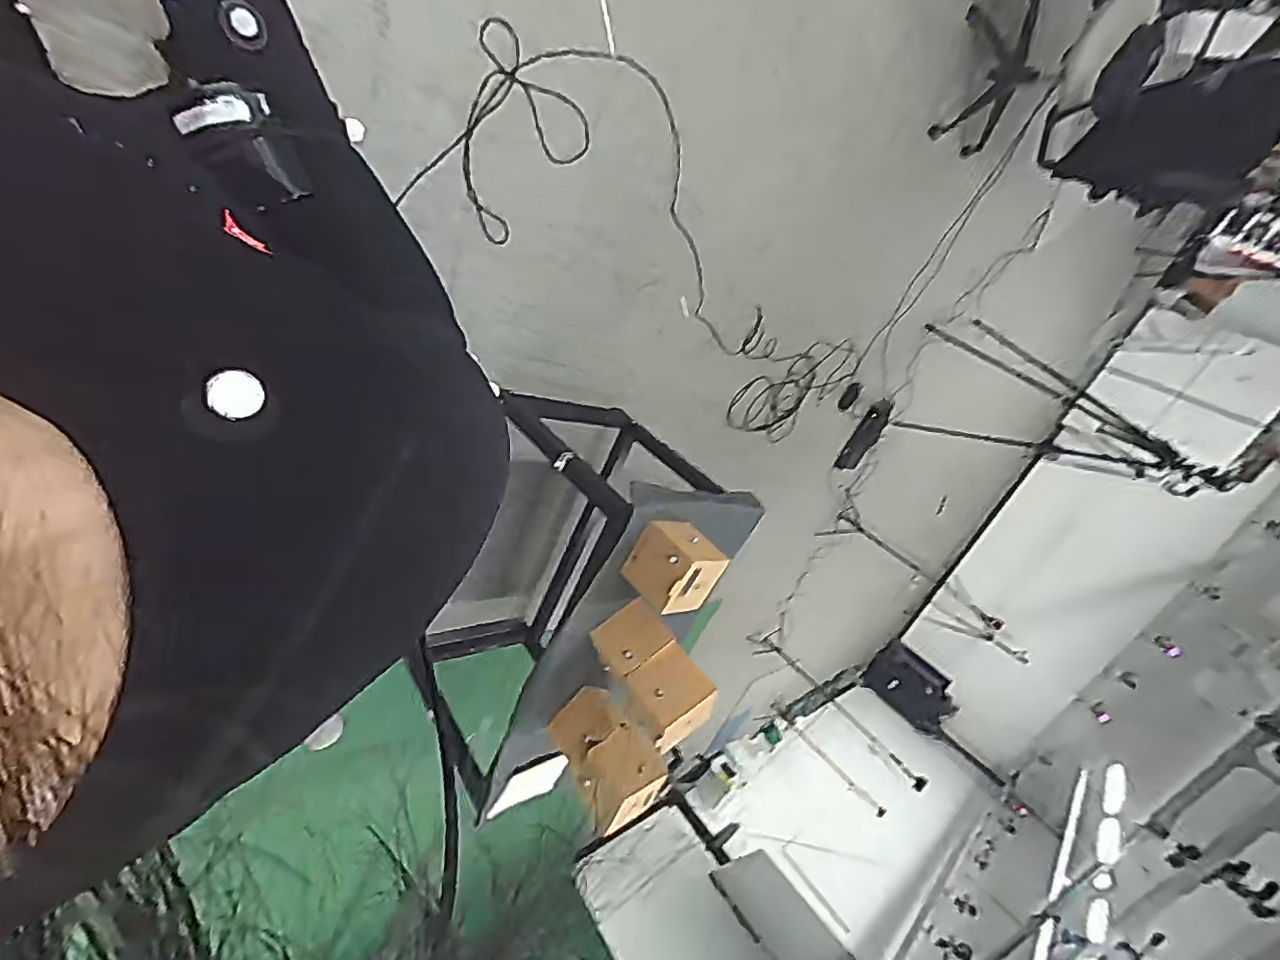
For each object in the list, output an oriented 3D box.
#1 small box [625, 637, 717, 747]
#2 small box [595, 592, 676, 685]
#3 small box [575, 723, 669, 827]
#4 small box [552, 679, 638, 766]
[{"bbox_3d":[0.075,0.554,1.427,0.179,0.176,0.168,-26,140,-29],"label":"small box"},{"bbox_3d":[-0.012,0.453,1.521,0.179,0.176,0.168,-34,143,-20],"label":"small box"},{"bbox_3d":[-0.055,0.832,1.545,0.179,0.176,0.168,-3,124,-45],"label":"small box"},{"bbox_3d":[-0.145,0.742,1.651,0.179,0.176,0.168,-47,145,-4],"label":"small box"}]
